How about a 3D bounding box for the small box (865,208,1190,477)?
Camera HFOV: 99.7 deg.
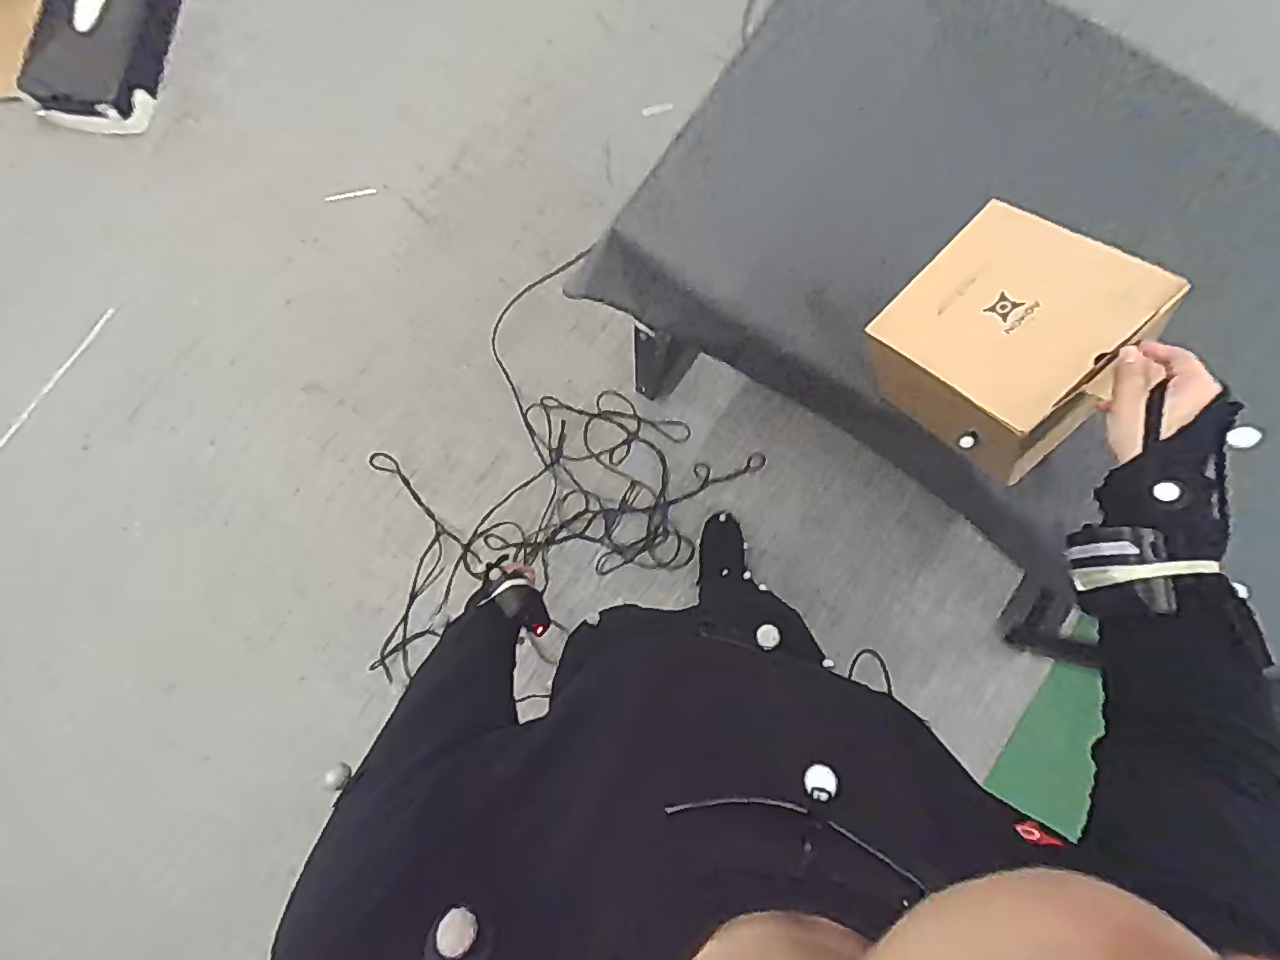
[{"bbox_3d":[0.362,-0.121,0.537,0.168,0.176,0.179,-47,55,10],"label":"small box"}]
